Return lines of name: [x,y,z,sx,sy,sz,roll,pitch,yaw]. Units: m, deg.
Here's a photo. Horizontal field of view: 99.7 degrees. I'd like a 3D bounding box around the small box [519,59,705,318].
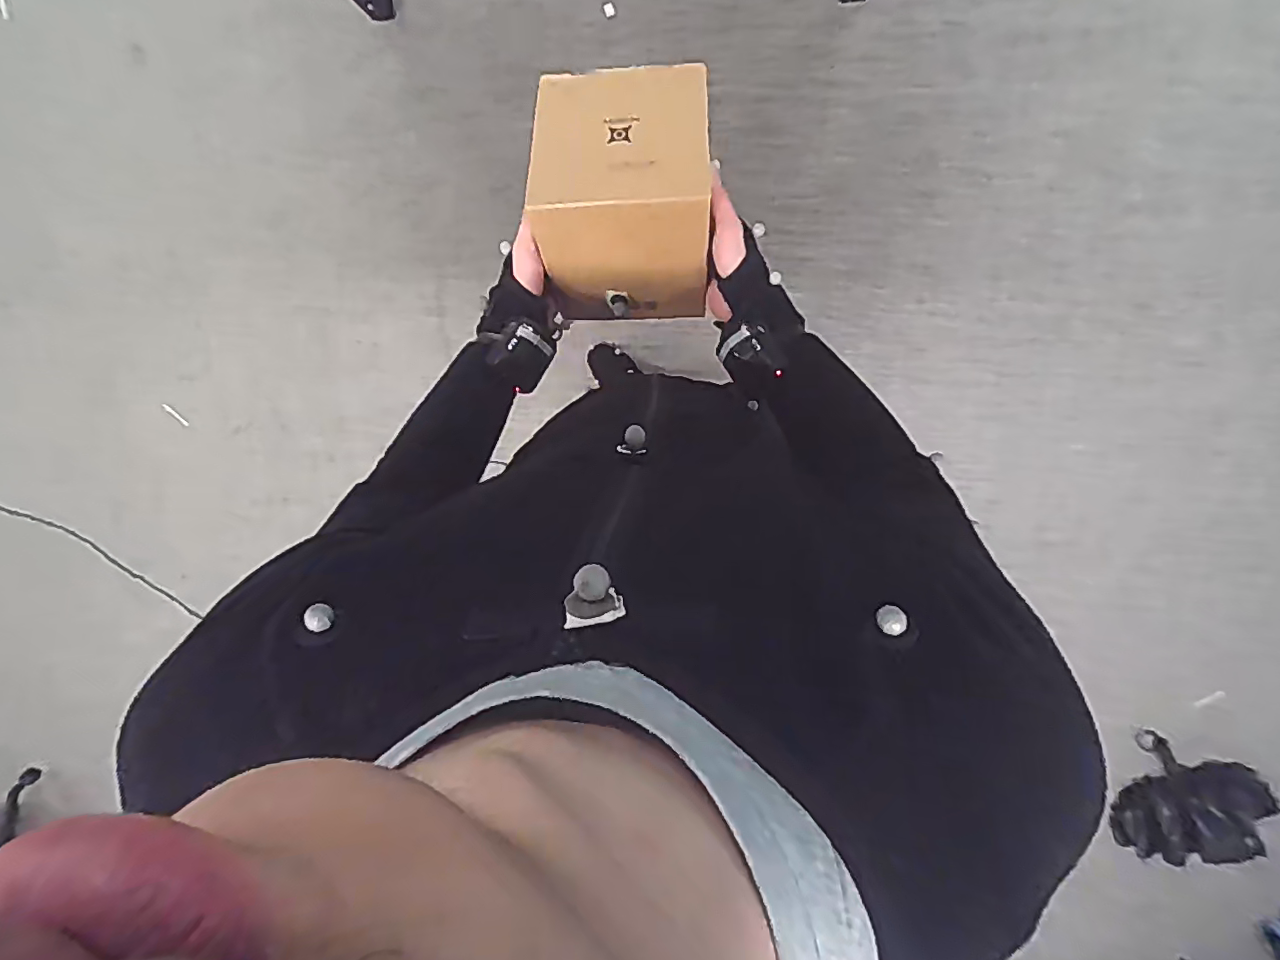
small box: [-0.019,-0.295,0.571,0.168,0.176,0.179,-1,71,5]
